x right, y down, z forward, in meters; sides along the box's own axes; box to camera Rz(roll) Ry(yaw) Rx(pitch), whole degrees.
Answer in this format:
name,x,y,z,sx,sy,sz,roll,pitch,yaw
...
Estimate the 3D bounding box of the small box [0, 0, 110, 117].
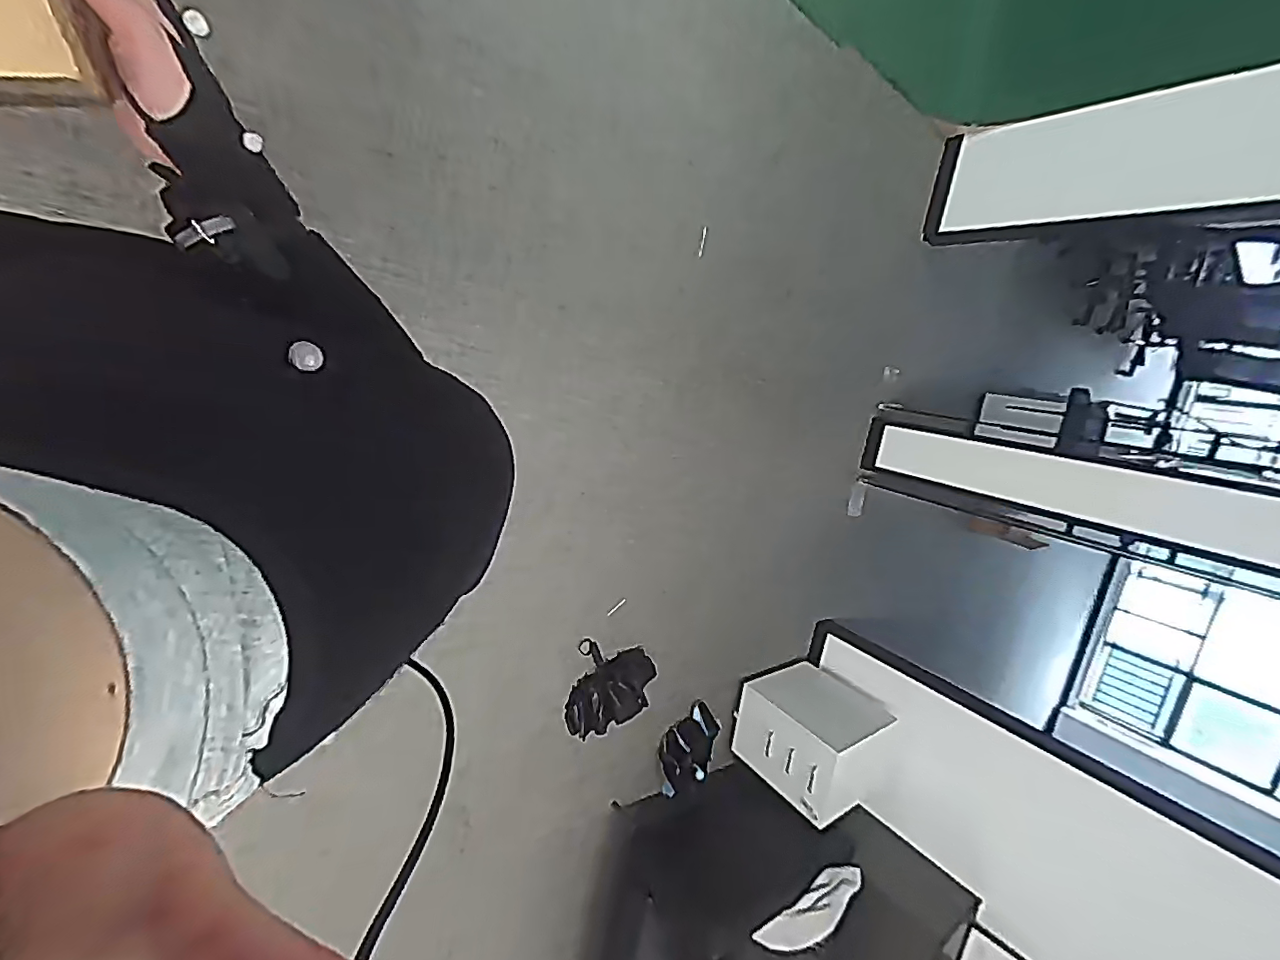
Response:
name,x,y,z,sx,sy,sz,roll,pitch,yaw
small box,-0.385,-0.272,0.238,0.168,0.176,0.179,-22,127,-29
